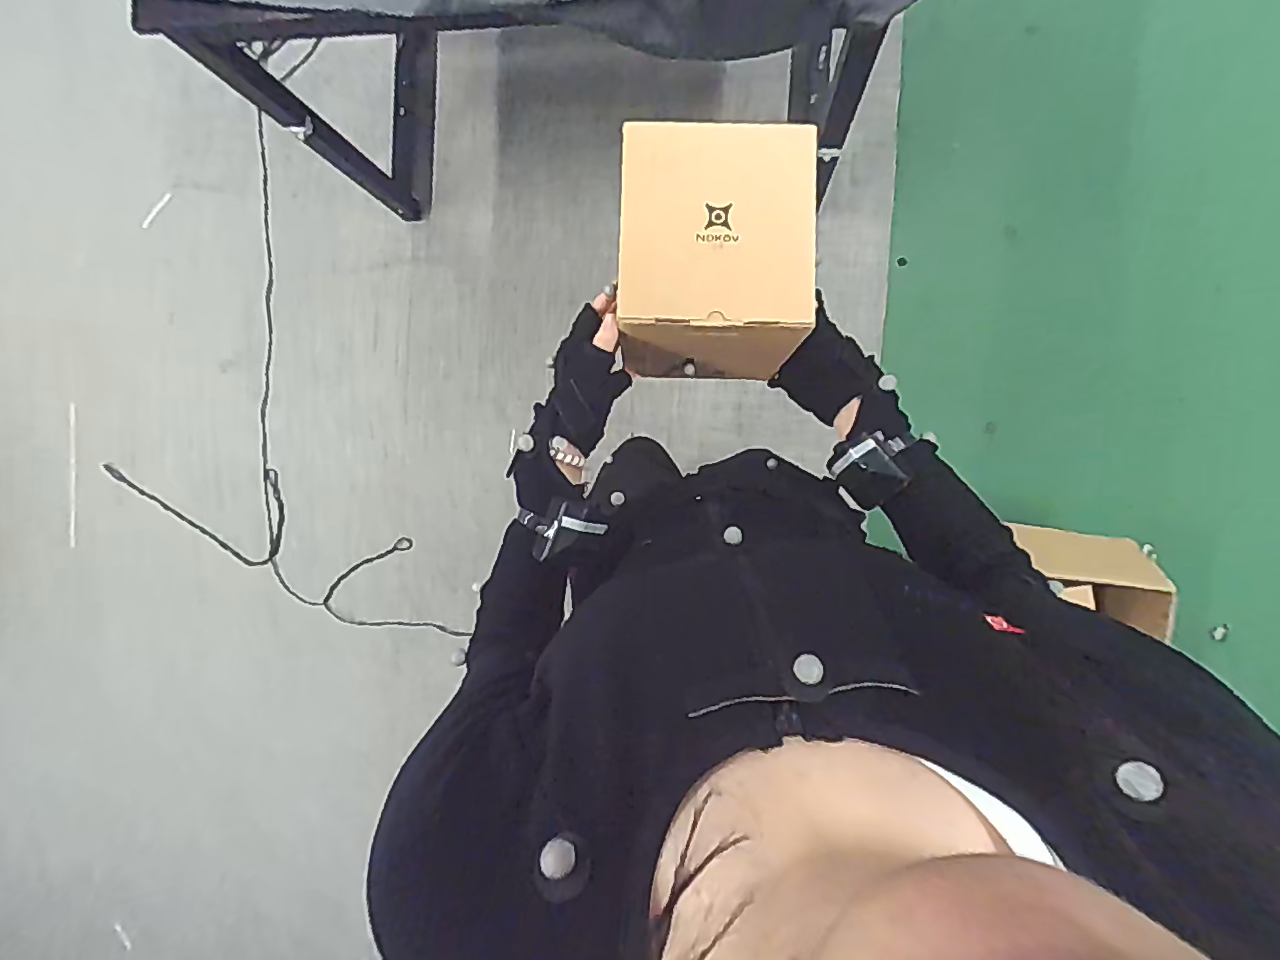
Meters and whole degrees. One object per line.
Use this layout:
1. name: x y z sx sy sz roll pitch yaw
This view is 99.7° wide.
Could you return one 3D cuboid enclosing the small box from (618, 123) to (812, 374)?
1. small box: 0.065 -0.217 0.544 0.168 0.176 0.179 2 87 1
